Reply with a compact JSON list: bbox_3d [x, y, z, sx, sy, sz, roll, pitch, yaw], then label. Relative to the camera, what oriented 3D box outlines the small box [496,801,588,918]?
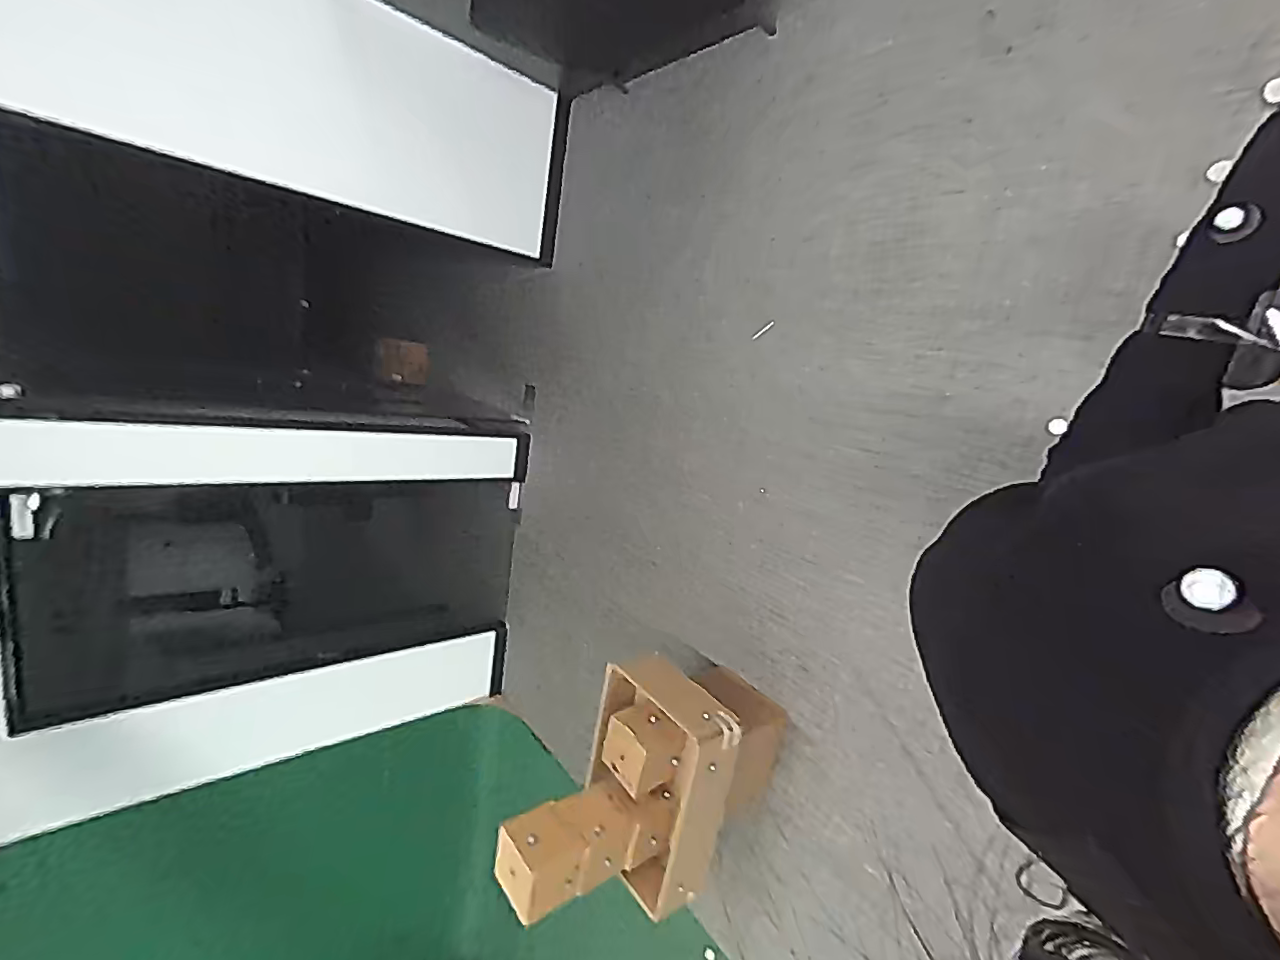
[{"bbox_3d":[-0.265,1.003,1.454,0.179,0.176,0.168,23,108,47],"label":"small box"}]
